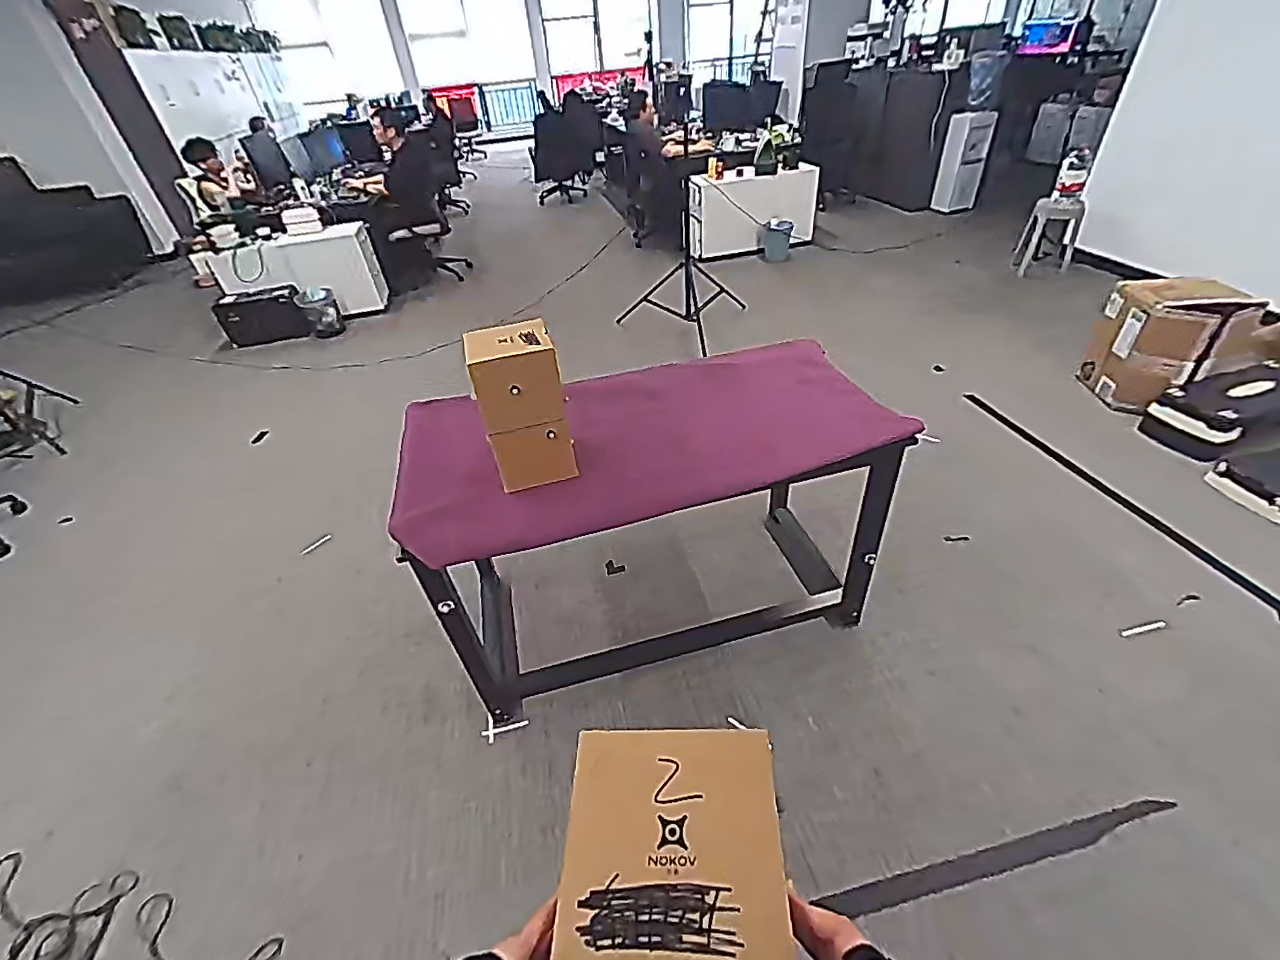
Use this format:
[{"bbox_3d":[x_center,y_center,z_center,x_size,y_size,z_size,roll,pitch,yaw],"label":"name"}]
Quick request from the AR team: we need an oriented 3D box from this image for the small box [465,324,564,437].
[{"bbox_3d":[-0.269,-0.217,1.174,0.179,0.176,0.168,-14,39,-10],"label":"small box"}]

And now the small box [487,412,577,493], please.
[{"bbox_3d":[-0.258,-0.091,1.279,0.179,0.176,0.168,-14,39,-11],"label":"small box"}]
